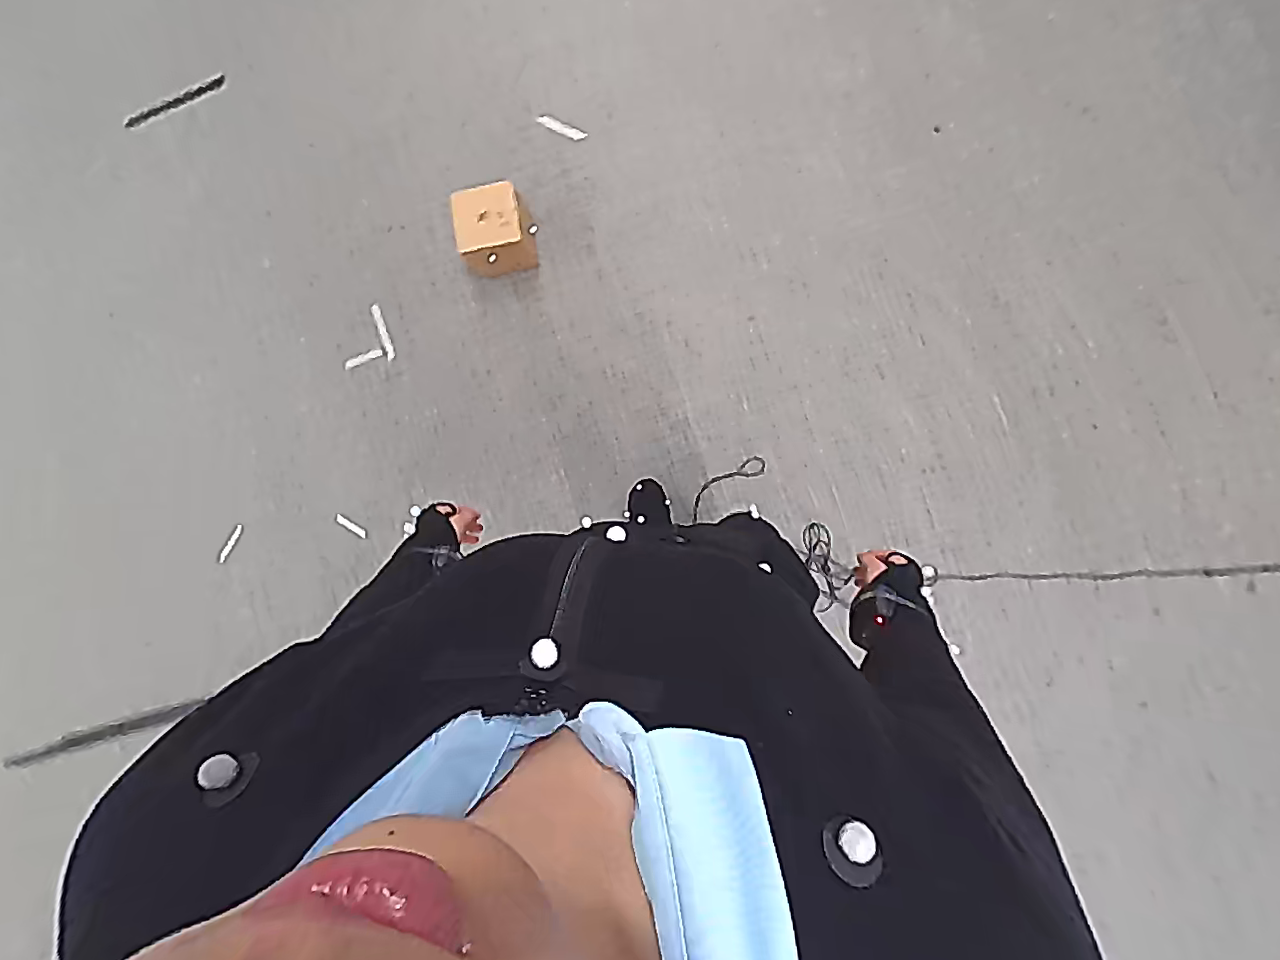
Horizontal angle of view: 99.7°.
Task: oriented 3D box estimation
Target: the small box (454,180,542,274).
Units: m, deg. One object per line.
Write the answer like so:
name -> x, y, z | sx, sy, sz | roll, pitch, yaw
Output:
small box -> -0.386, -0.687, 1.490 | 0.179, 0.176, 0.168 | -8, 88, 6
